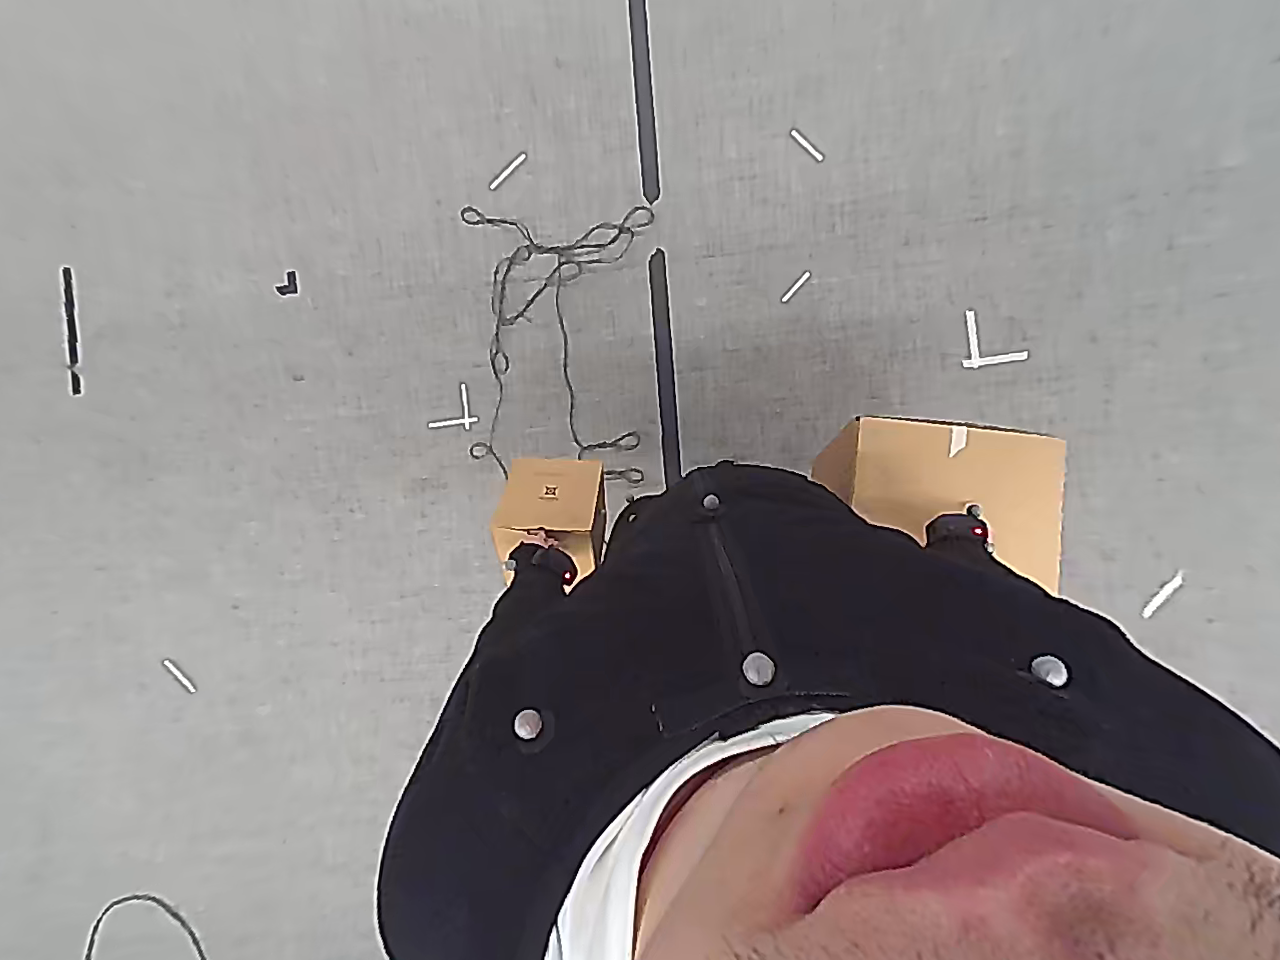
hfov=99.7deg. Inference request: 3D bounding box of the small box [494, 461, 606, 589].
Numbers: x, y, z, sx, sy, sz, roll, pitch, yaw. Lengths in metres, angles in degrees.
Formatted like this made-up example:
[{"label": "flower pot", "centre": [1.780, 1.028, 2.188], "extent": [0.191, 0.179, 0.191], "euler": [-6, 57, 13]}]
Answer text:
[{"label": "small box", "centre": [-0.153, 0.083, 0.994], "extent": [0.168, 0.179, 0.176], "euler": [1, 132, 2]}]
